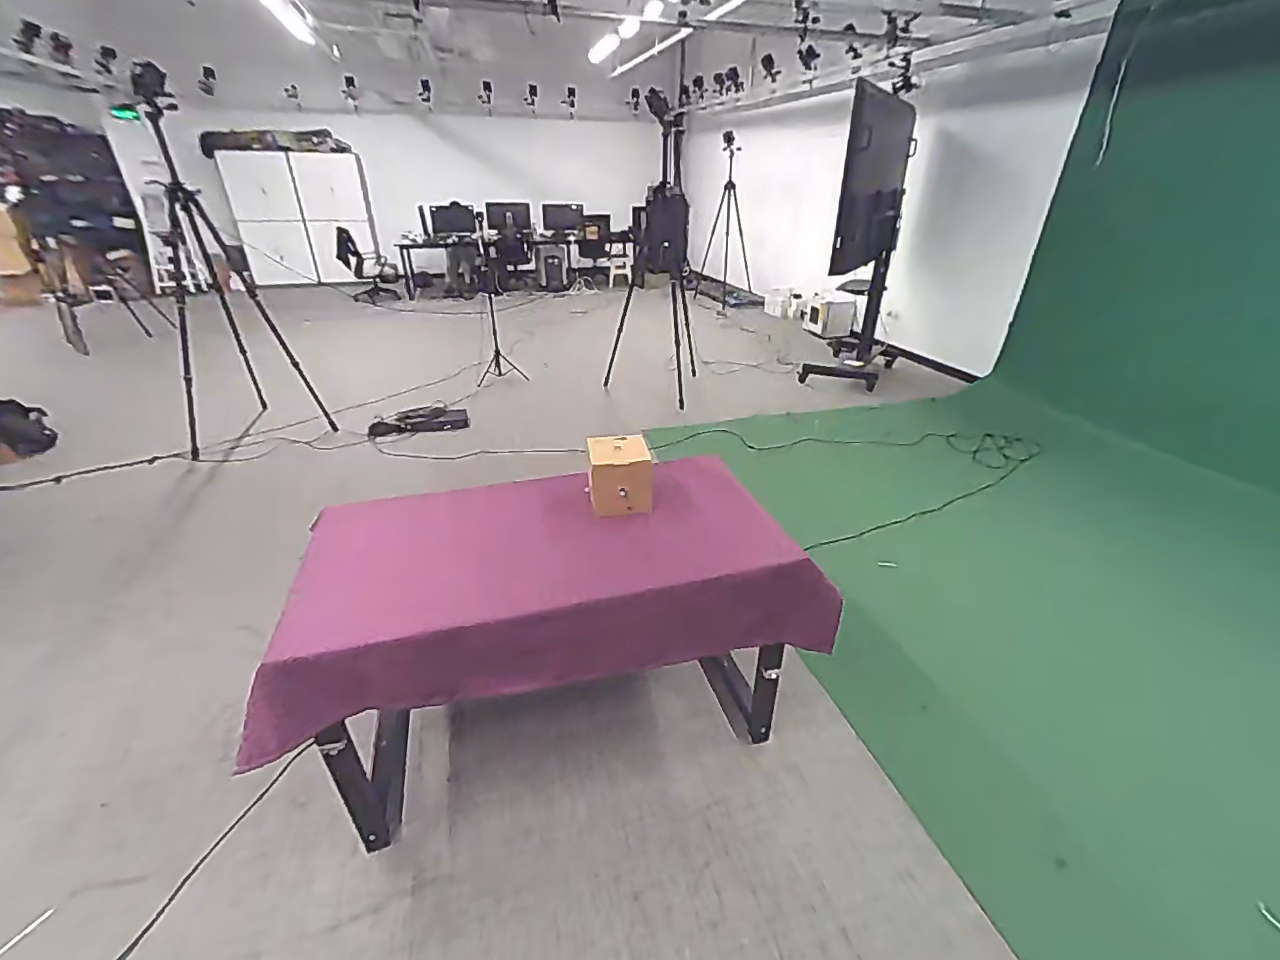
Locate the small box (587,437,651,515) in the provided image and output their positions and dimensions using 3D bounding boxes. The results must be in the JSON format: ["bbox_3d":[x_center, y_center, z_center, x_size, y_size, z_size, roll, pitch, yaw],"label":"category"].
[{"bbox_3d":[-0.061,-0.008,1.554,0.168,0.176,0.179,-4,30,-8],"label":"small box"}]
